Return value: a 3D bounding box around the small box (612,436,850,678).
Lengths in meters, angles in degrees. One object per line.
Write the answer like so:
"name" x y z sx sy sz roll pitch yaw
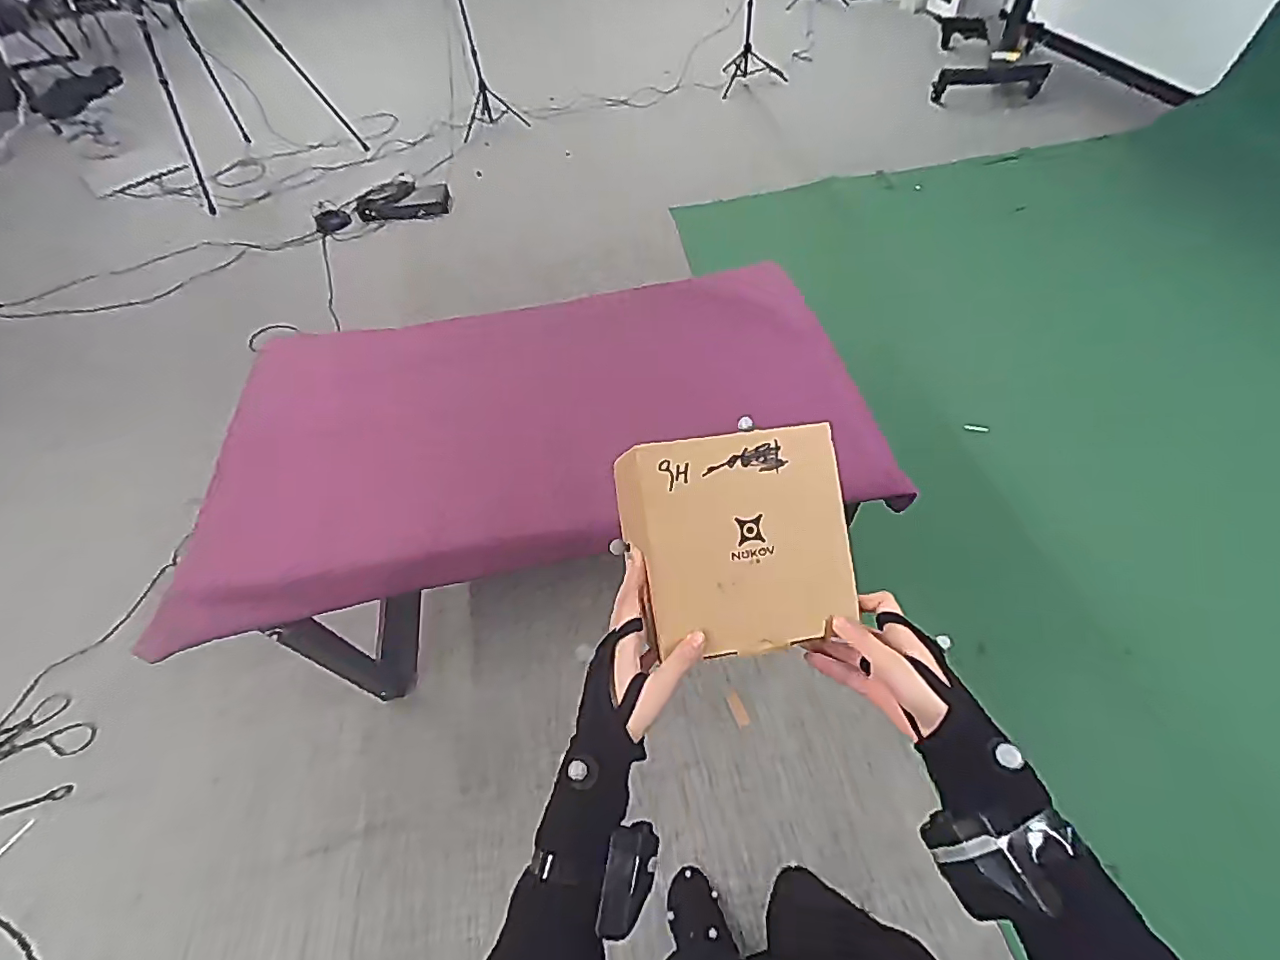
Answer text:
"small box" 0.070 0.060 0.504 0.168 0.176 0.179 -7 89 -9
